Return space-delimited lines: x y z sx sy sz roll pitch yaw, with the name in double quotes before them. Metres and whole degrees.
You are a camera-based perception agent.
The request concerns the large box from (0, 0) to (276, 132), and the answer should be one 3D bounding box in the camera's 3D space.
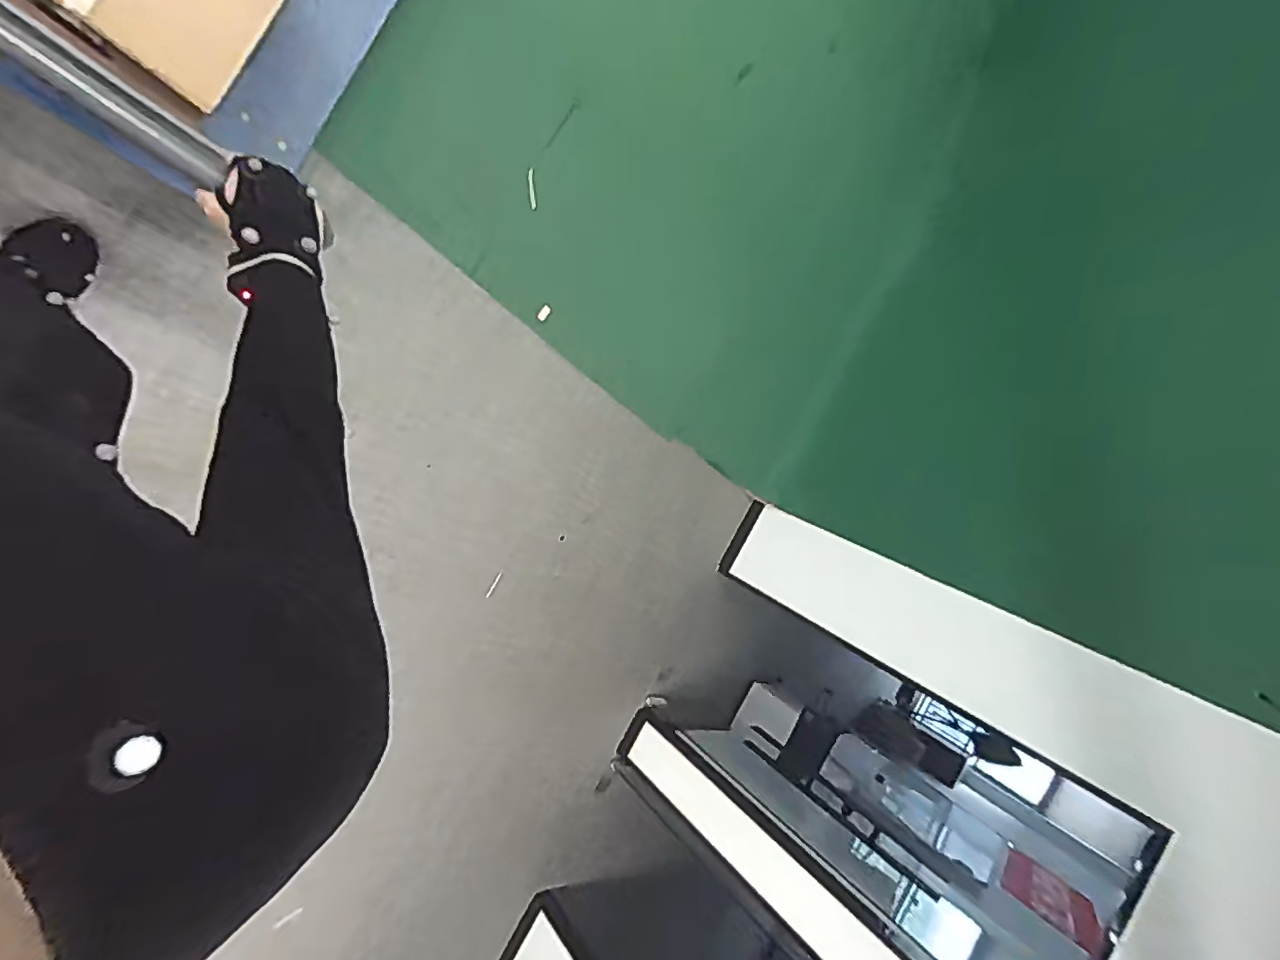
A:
"large box" -0.741 -0.819 0.799 0.320 0.320 0.408 31 85 -49
